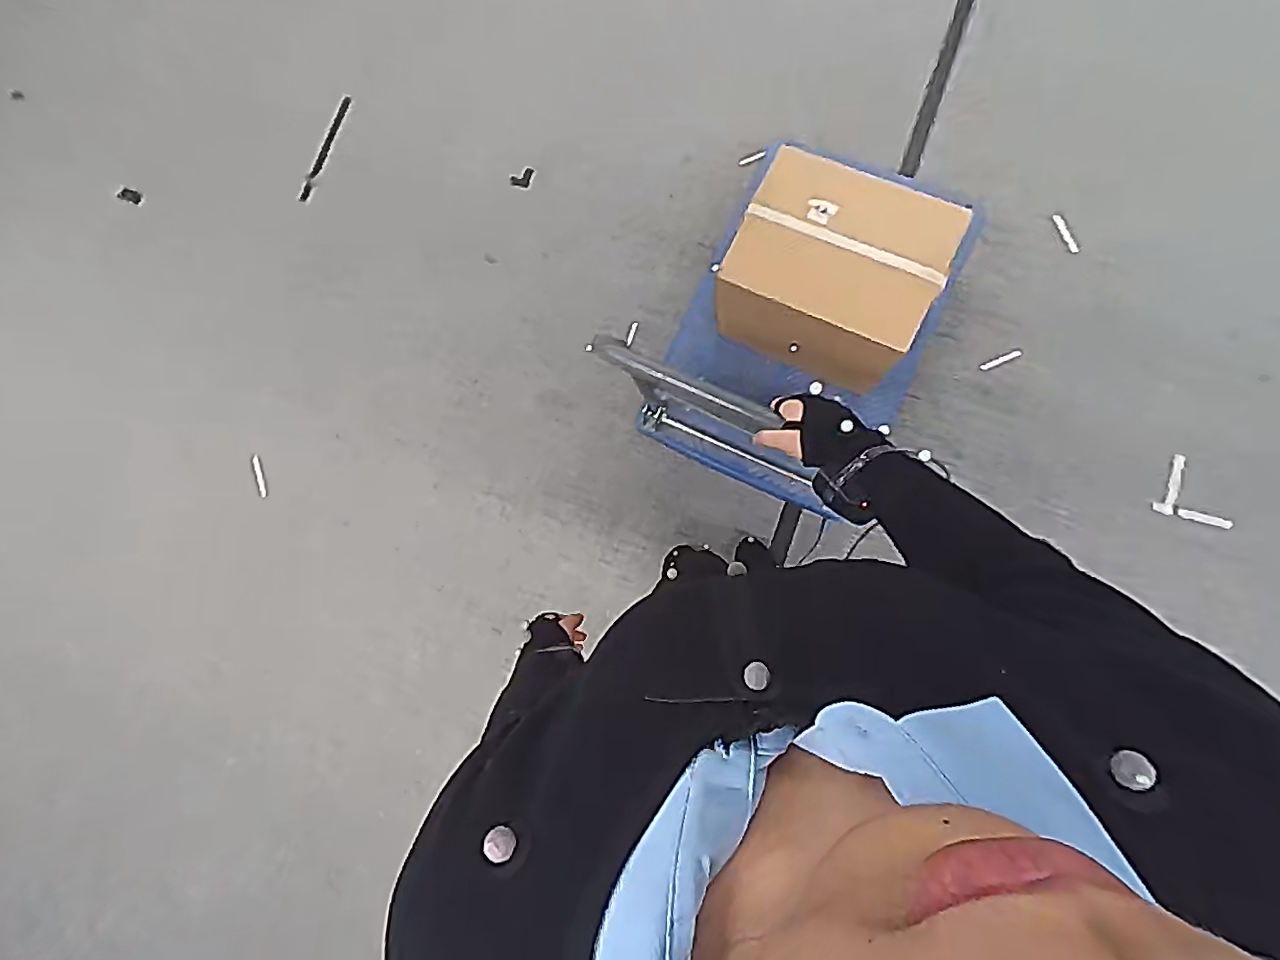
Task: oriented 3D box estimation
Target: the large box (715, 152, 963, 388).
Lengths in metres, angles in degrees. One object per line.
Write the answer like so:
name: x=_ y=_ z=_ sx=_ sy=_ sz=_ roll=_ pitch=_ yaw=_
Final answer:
large box: x=0.420 y=-0.455 z=1.232 sx=0.408 sy=0.320 sz=0.320 roll=25 pitch=87 yaw=12
